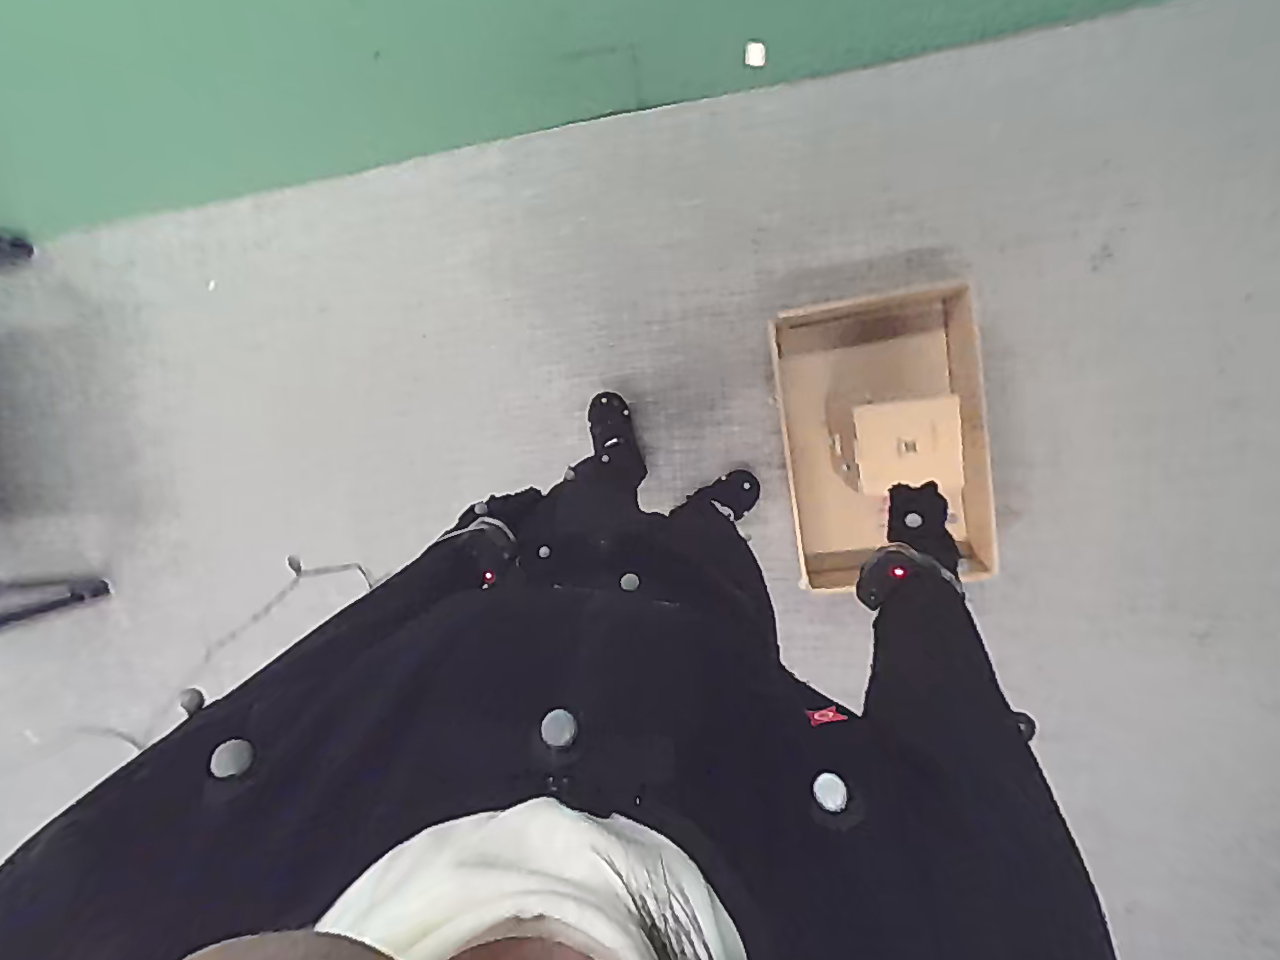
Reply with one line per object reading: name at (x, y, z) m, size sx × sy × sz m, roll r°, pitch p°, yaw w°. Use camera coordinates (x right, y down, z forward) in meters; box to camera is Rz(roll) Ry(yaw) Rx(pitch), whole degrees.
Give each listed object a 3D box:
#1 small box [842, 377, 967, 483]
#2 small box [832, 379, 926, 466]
small box at (0.487, -0.095, 1.020) m, size 0.179 × 0.176 × 0.168 m, roll -9°, pitch 97°, yaw 14°
small box at (0.526, -0.127, 1.191) m, size 0.179 × 0.176 × 0.168 m, roll -6°, pitch 98°, yaw 13°
